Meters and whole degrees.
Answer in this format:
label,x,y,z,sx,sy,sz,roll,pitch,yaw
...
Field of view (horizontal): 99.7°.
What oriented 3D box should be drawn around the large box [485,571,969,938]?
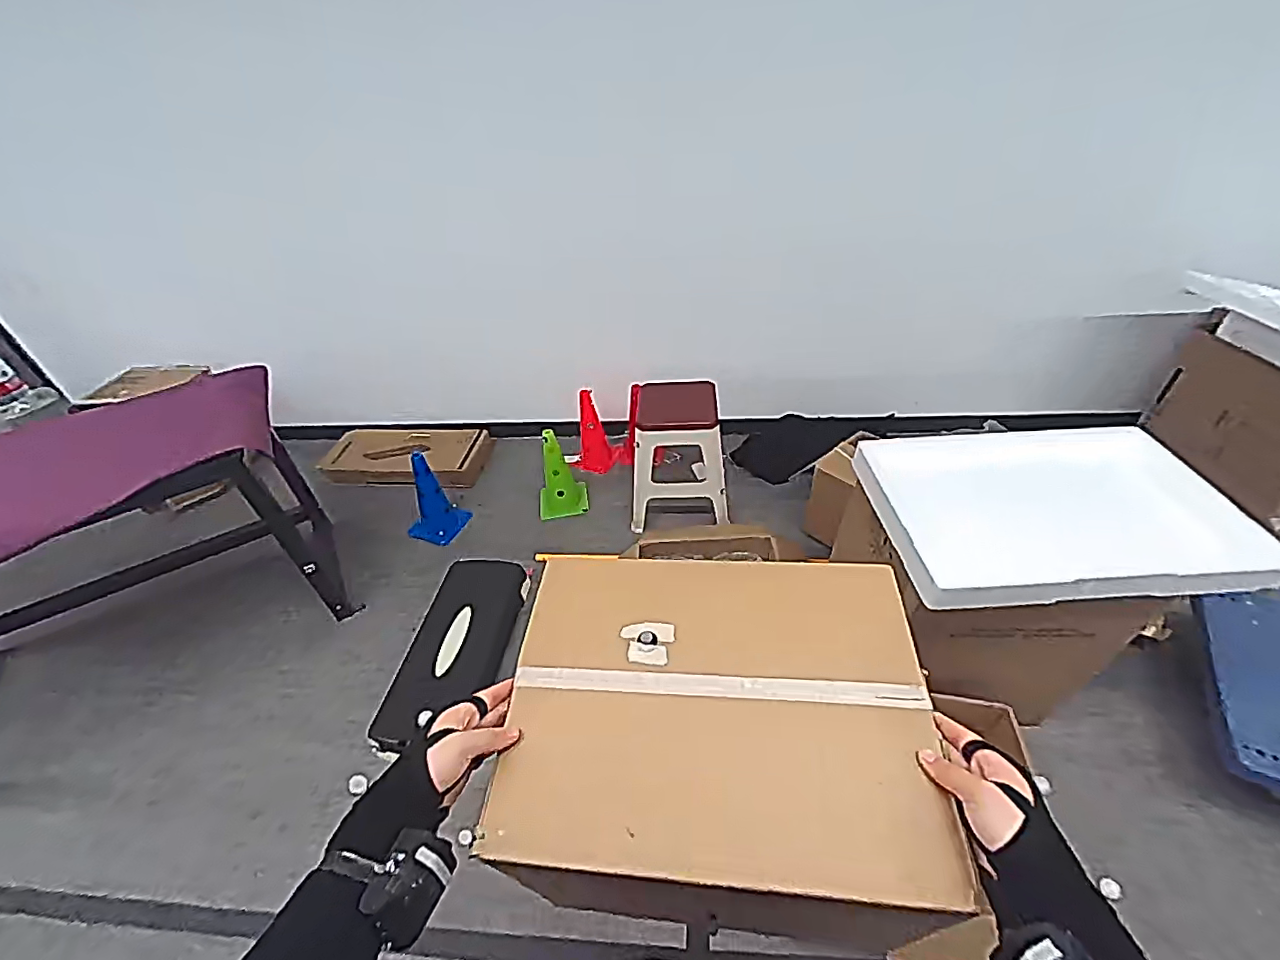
label,x,y,z,sx,sy,sz,roll,pitch,yaw
large box,0.091,0.325,0.650,0.408,0.320,0.320,-1,44,8
